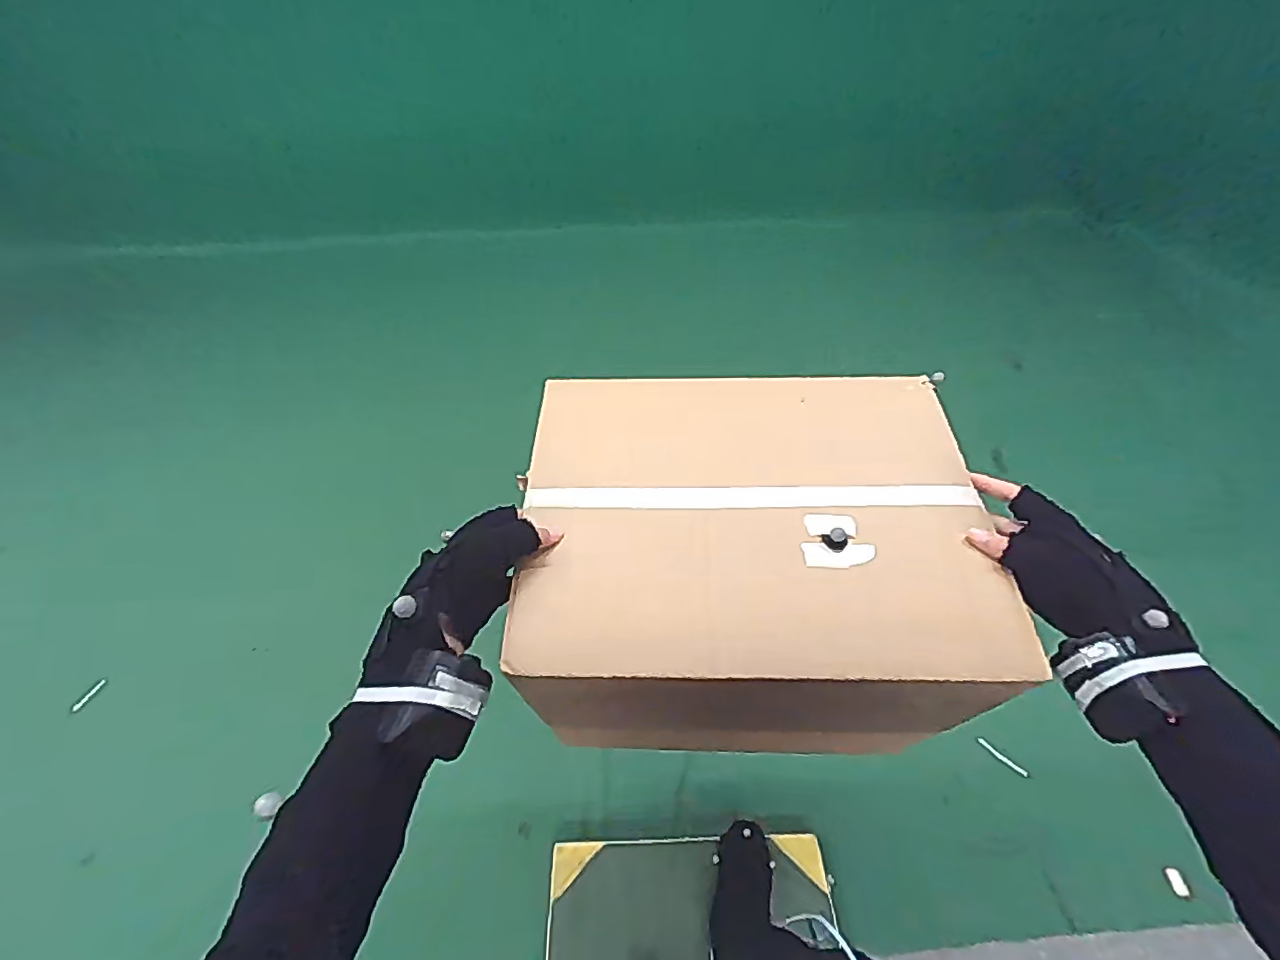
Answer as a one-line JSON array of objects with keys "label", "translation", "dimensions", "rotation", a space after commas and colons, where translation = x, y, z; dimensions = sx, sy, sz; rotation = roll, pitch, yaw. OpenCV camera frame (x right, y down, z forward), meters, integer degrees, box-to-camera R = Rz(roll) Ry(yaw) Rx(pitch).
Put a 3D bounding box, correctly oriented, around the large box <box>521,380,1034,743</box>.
[{"label": "large box", "translation": [0.106, 0.104, 0.620], "dimensions": [0.408, 0.320, 0.320], "rotation": [0, 55, 1]}]
